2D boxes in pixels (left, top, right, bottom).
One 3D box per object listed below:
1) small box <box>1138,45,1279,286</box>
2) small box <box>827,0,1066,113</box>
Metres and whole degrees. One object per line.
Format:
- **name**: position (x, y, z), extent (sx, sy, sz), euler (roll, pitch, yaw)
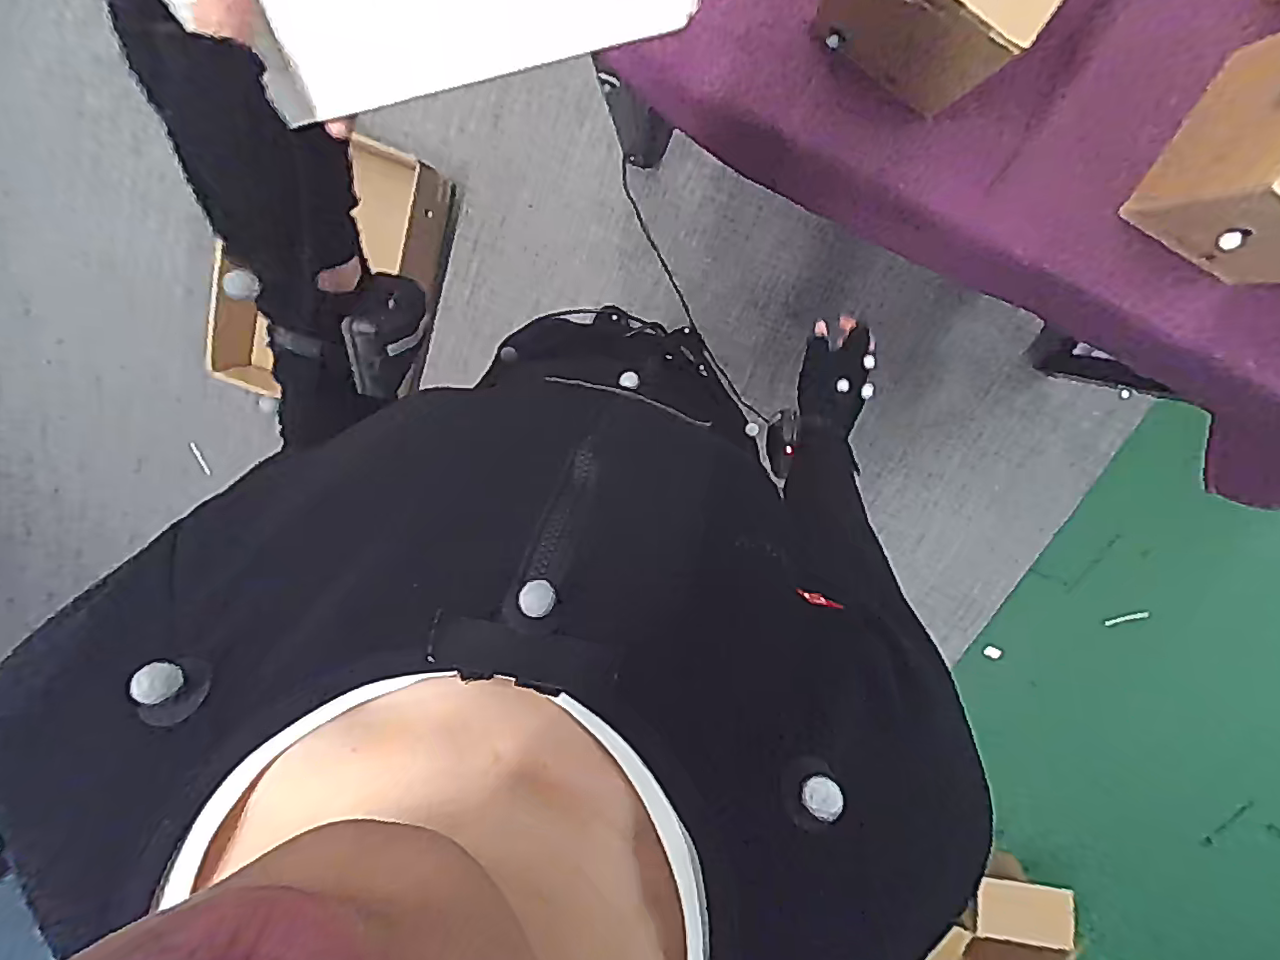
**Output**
- **small box**: position (0.645, -0.300, 0.516), extent (0.168, 0.176, 0.179), euler (28, 109, -6)
- **small box**: position (0.288, -0.471, 0.474), extent (0.168, 0.176, 0.179), euler (32, 107, -8)
